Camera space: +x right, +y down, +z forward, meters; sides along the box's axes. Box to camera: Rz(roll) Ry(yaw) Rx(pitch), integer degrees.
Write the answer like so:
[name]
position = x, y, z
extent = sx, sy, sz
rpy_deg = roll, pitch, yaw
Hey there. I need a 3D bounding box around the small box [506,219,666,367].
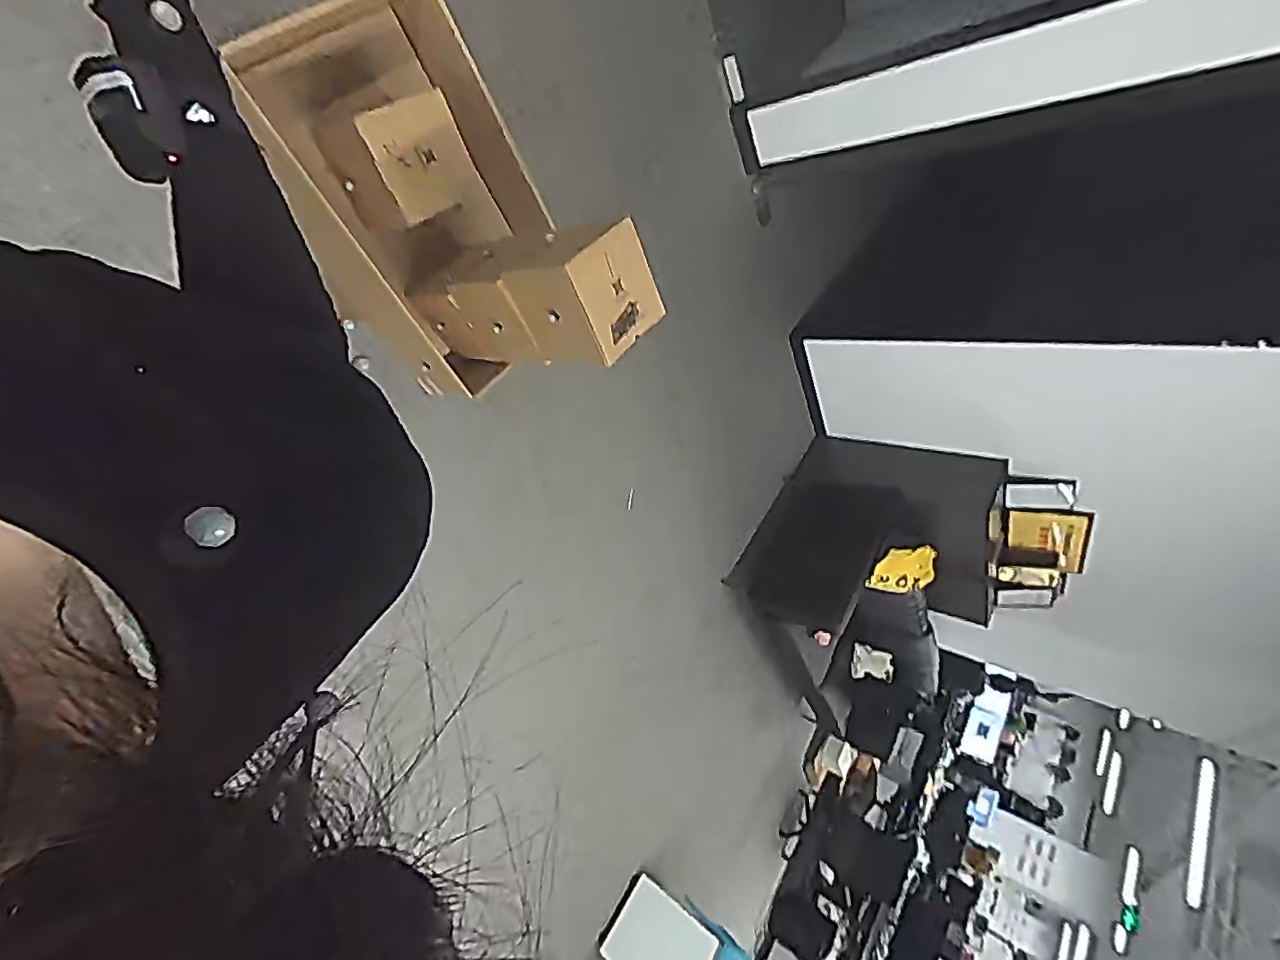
[small box]
position = -0.089, -0.313, 0.914
extent = 0.168, 0.176, 0.179
rpy_deg = -49, 132, -28
